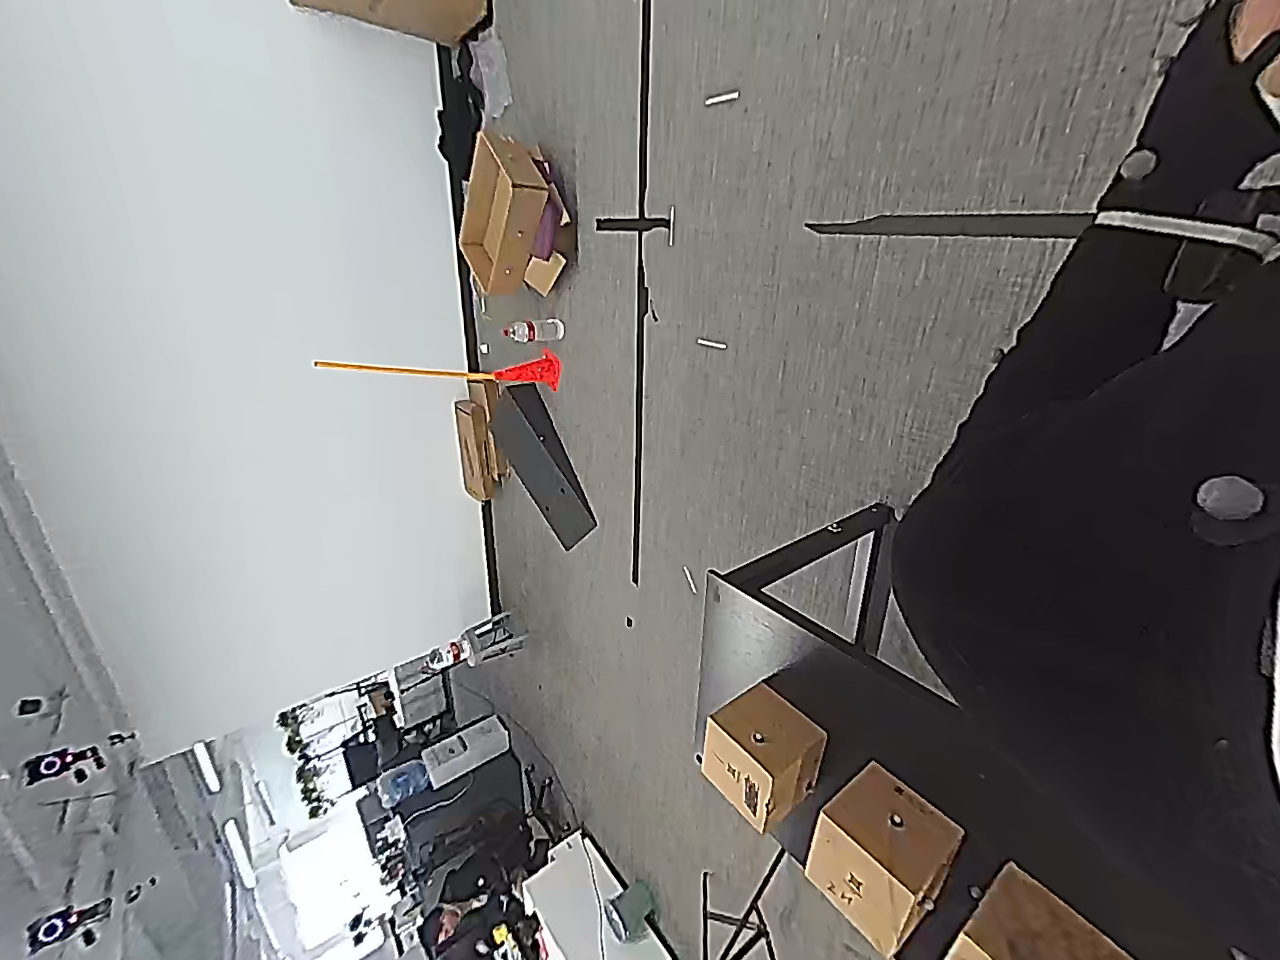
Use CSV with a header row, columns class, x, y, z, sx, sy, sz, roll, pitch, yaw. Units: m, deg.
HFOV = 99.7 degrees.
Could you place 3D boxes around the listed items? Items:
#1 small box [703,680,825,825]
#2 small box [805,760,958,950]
class,x,y,z,sx,sy,sz,roll,pitch,yaw
small box,0.256,0.554,1.125,0.179,0.176,0.168,31,126,45
small box,0.416,0.631,0.934,0.168,0.176,0.179,30,126,46
